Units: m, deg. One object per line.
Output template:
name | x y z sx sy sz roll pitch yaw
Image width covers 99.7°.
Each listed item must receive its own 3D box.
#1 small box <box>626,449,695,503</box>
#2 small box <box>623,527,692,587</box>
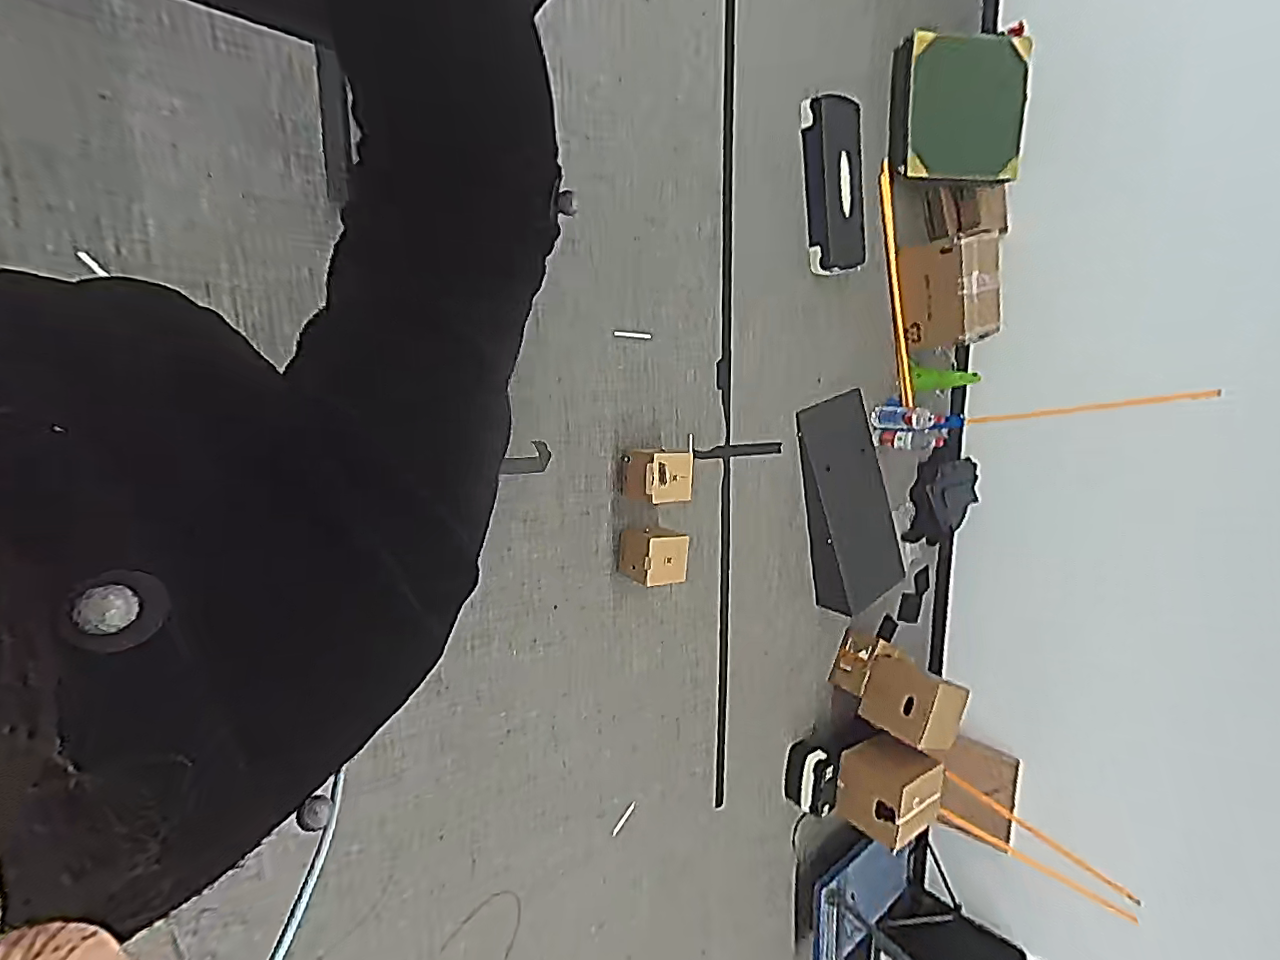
small box | 0.065 -0.018 1.844 0.179 0.176 0.168 -4 100 -37
small box | 0.057 0.262 1.882 0.179 0.176 0.168 0 98 -38
